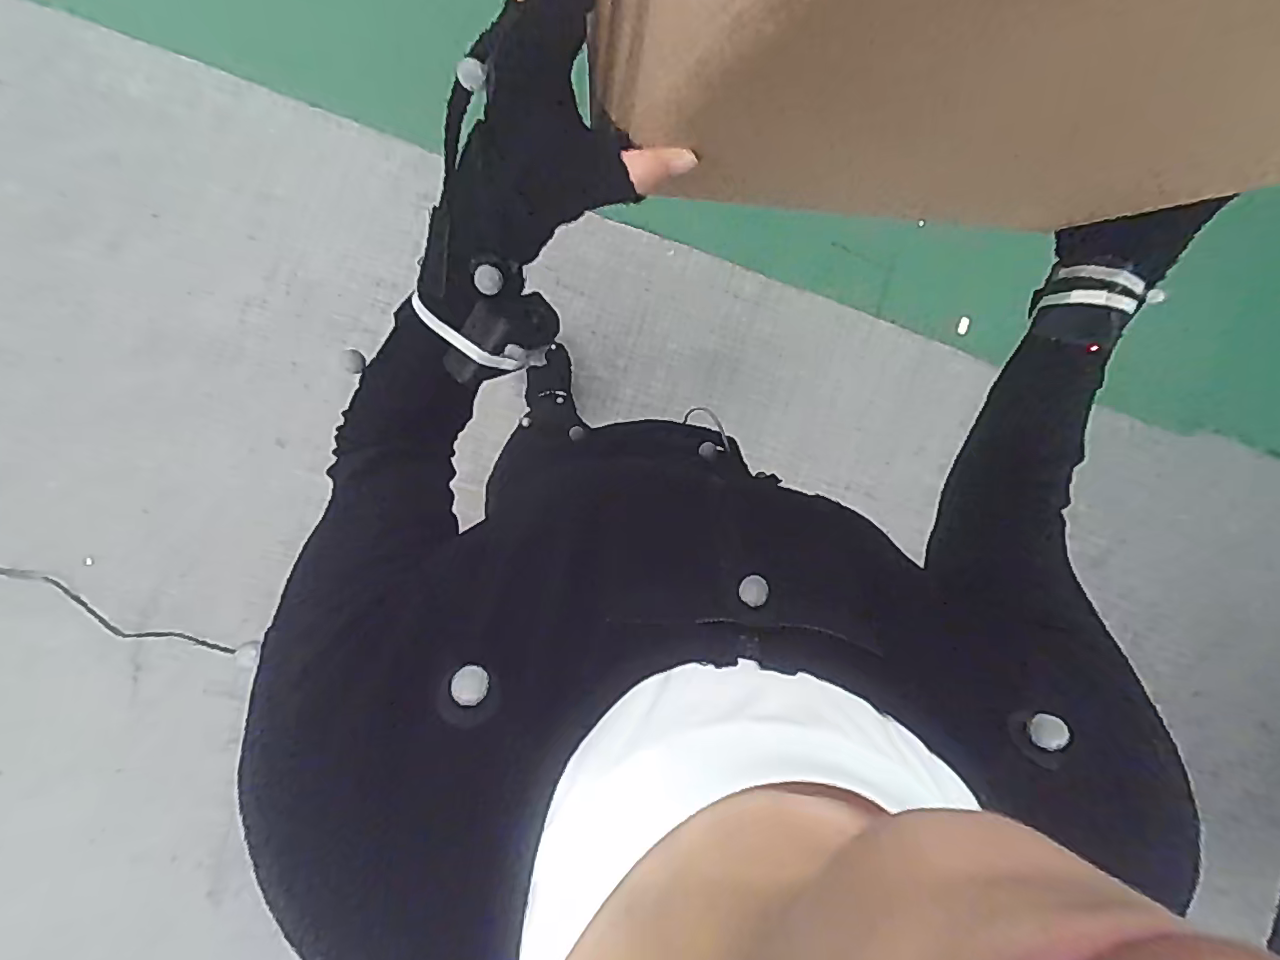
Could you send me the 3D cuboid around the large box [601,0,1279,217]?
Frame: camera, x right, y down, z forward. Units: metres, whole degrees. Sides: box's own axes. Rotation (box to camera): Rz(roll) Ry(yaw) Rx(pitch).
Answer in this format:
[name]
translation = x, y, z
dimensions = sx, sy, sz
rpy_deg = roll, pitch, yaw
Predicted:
[large box]
translation = 0.213, -0.315, 0.219
dimensions = 0.408, 0.320, 0.320
rpy_deg = -7, 105, -22
